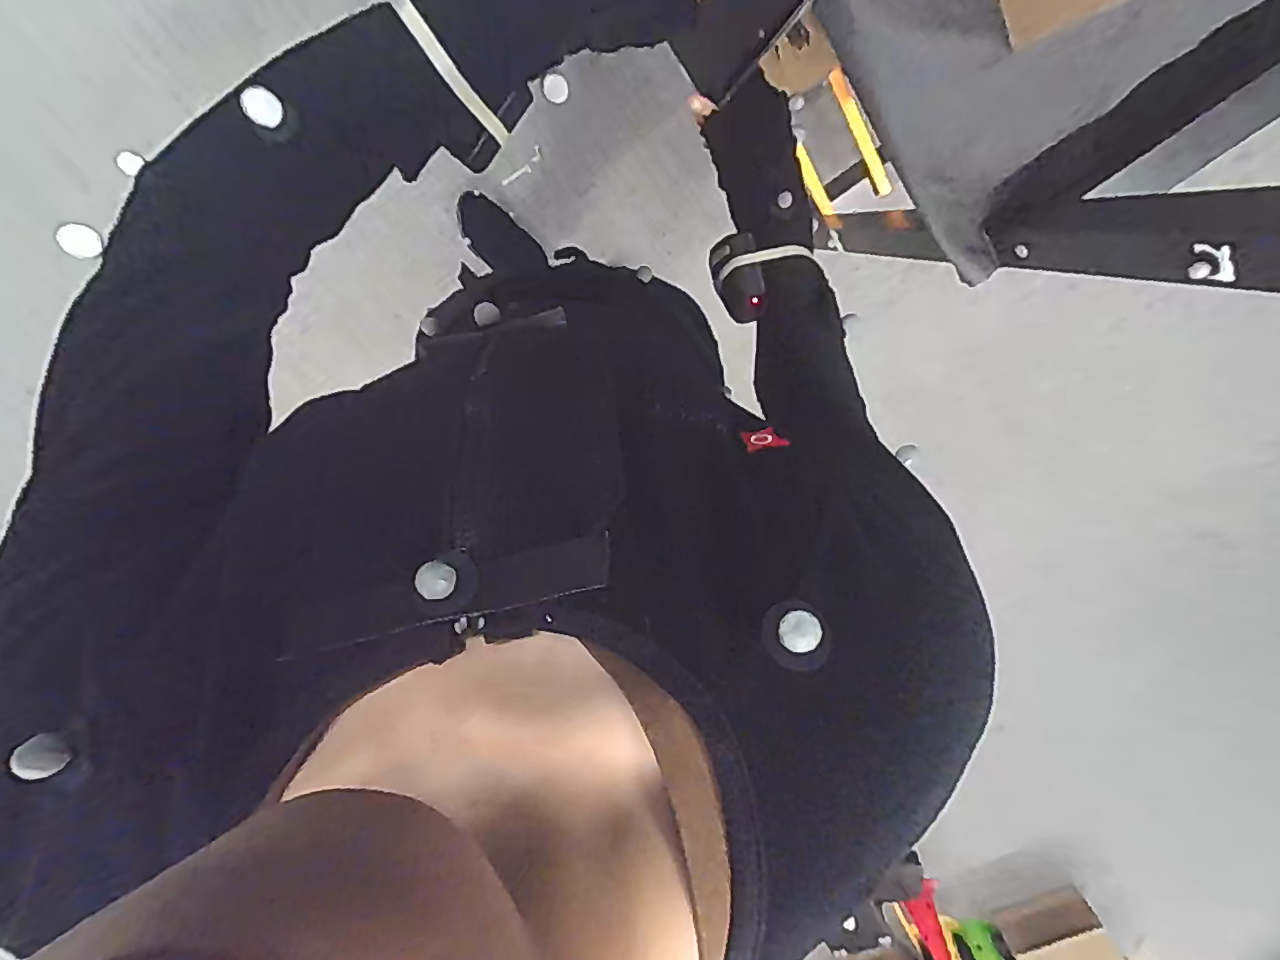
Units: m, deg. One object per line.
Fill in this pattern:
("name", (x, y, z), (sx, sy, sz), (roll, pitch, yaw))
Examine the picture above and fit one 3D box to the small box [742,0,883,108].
("small box", (0.301, -0.821, 0.986), (0.179, 0.176, 0.168), (-30, 113, 11))
